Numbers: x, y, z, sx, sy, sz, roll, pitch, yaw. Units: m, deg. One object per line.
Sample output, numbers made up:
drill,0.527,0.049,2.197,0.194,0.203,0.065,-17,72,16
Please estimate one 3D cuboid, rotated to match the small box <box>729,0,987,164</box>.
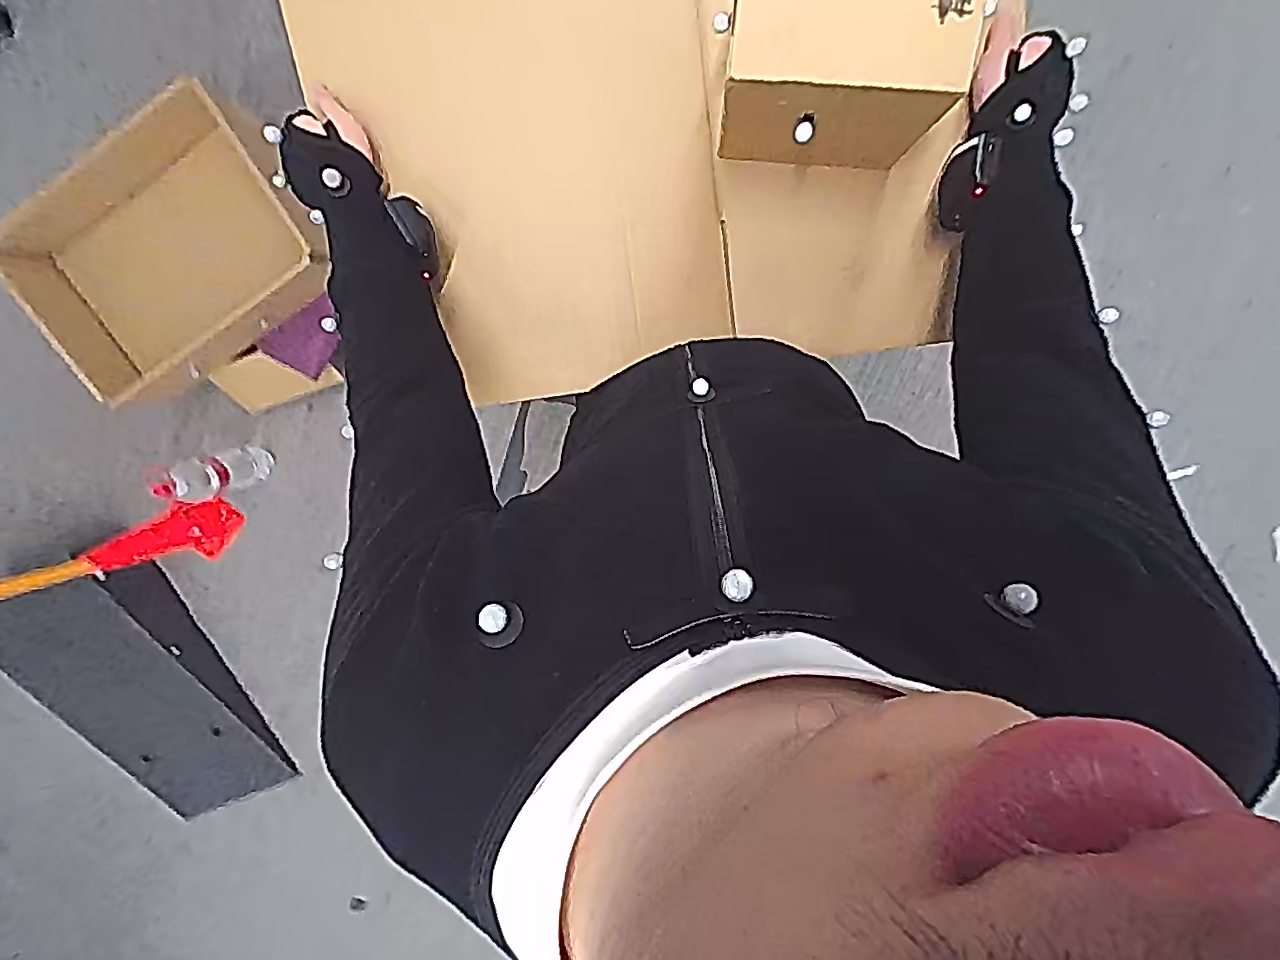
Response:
small box,0.174,-0.391,0.462,0.179,0.176,0.168,8,104,5
